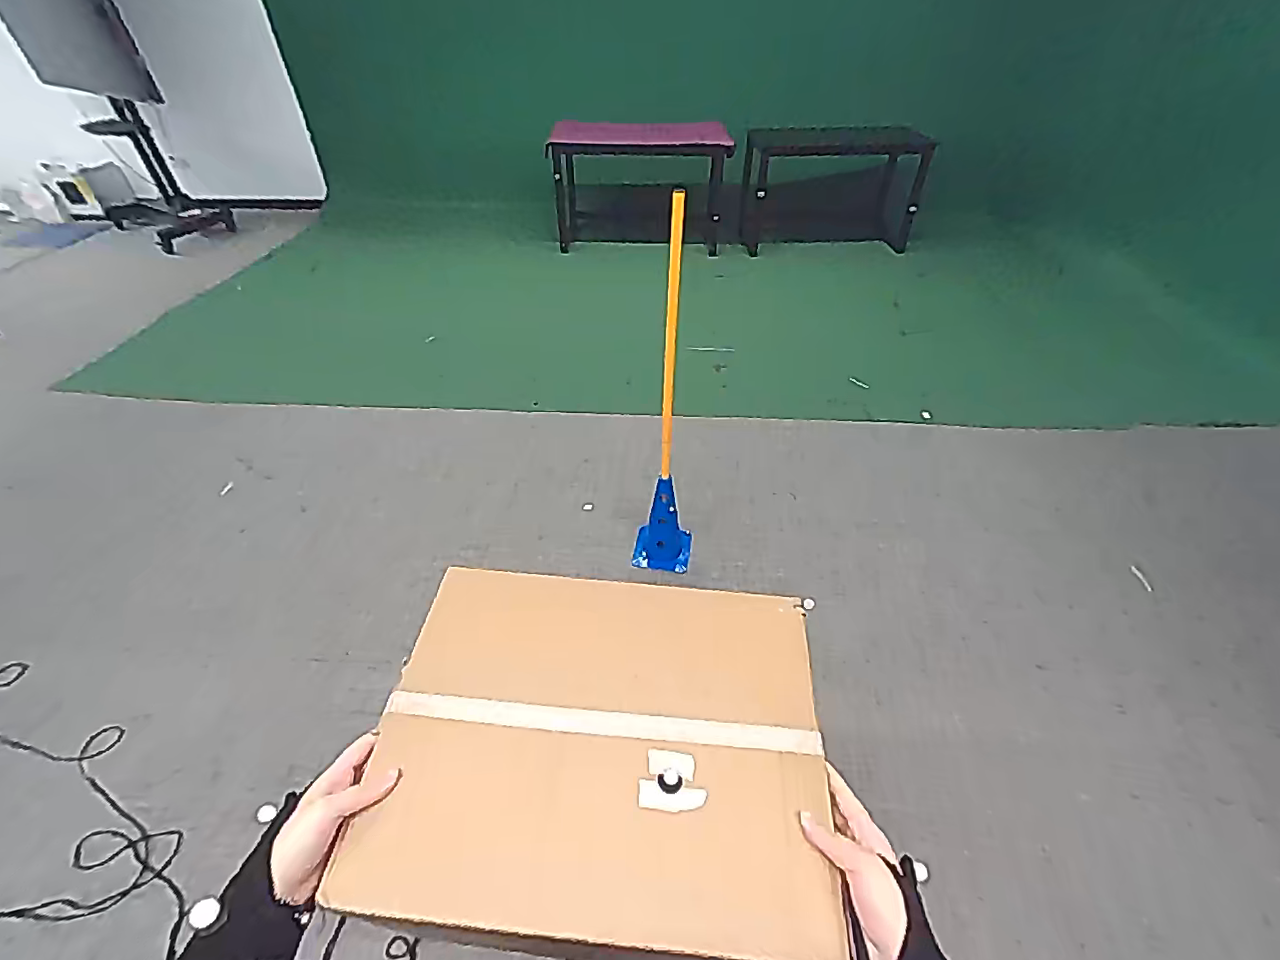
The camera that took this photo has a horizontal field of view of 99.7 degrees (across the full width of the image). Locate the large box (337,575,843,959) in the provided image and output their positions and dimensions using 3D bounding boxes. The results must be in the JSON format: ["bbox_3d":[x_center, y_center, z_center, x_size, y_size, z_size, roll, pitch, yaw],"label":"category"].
[{"bbox_3d":[-0.037,0.337,0.625,0.408,0.320,0.320,5,46,2],"label":"large box"}]

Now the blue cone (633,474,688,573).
[{"bbox_3d":[0.076,0.137,1.874,0.193,0.380,0.192,8,42,8],"label":"blue cone"}]
